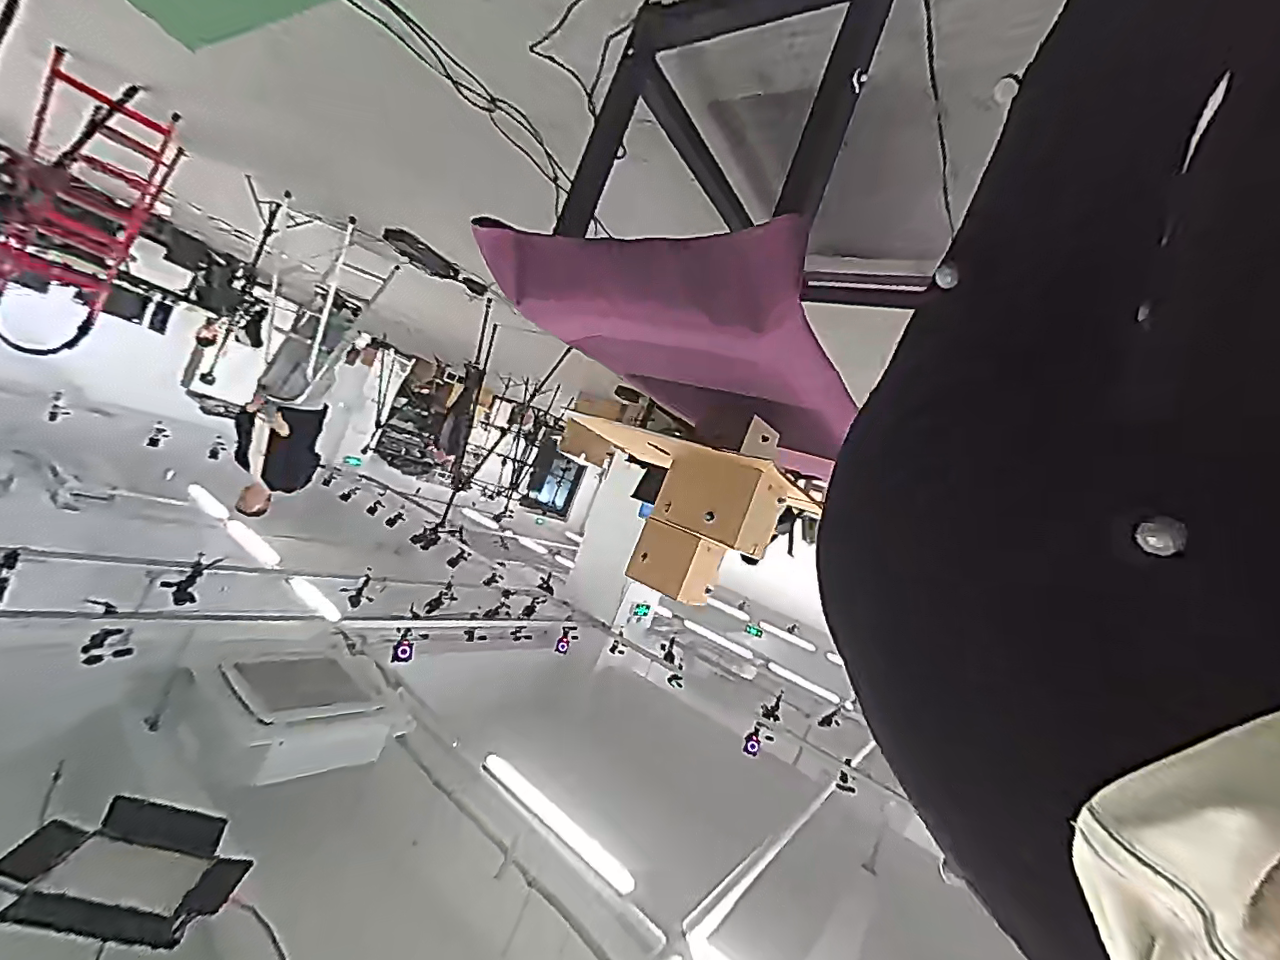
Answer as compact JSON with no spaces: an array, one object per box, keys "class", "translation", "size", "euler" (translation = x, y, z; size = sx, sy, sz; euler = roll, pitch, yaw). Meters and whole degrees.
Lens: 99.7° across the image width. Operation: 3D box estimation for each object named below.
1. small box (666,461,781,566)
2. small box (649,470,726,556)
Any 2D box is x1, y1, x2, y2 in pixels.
[{"class":"small box","translation":[0.190,0.070,1.175],"size":[0.179,0.176,0.168],"euler":[19,175,37]},{"class":"small box","translation":[0.159,0.083,1.446],"size":[0.179,0.176,0.168],"euler":[18,173,35]}]
